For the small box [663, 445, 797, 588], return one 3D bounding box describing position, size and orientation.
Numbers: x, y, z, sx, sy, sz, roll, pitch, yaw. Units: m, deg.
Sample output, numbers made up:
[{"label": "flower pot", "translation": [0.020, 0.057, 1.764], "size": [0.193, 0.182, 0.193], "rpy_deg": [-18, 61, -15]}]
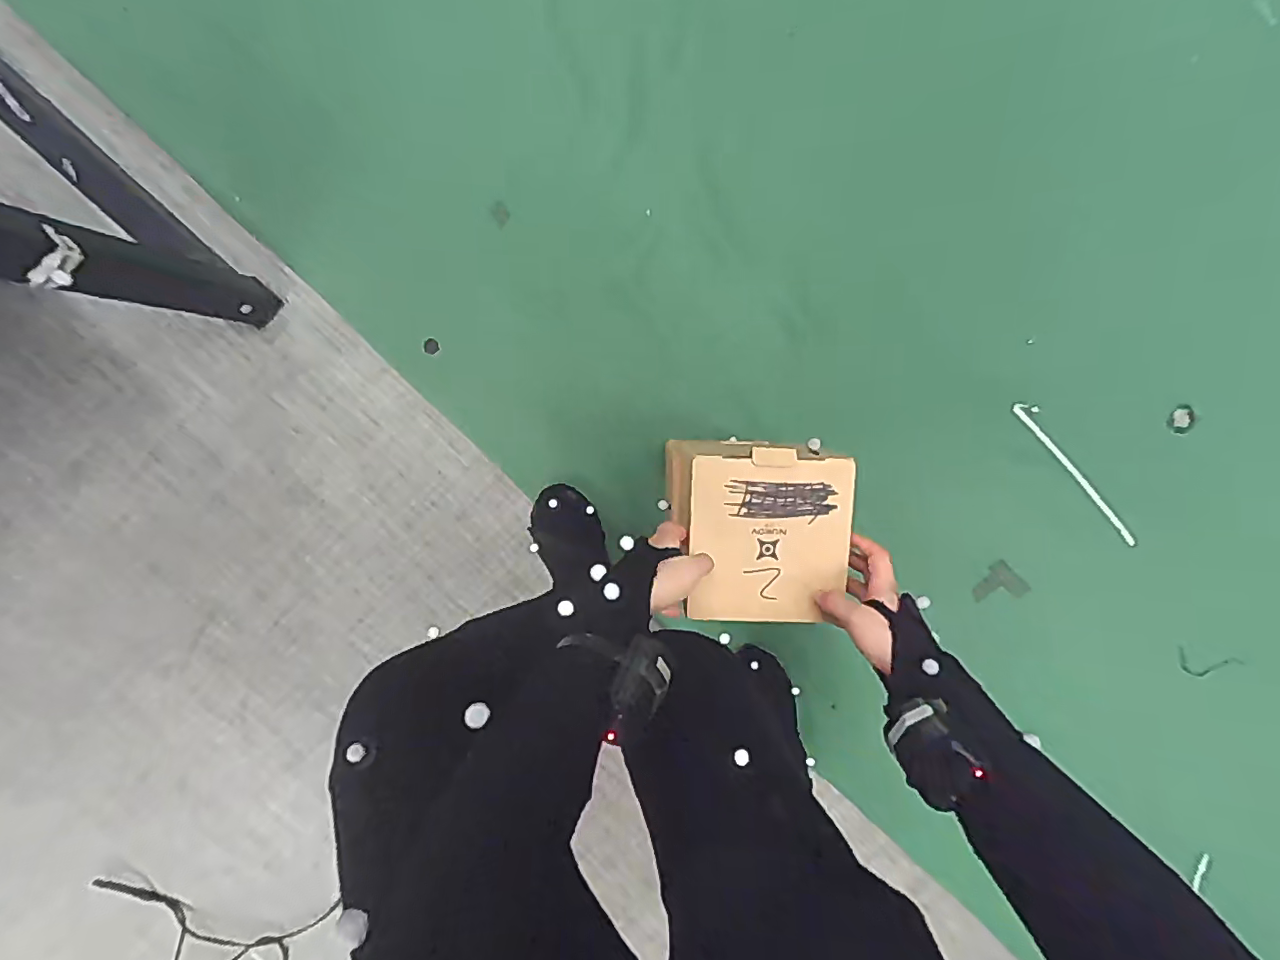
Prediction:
[{"label": "small box", "translation": [0.121, 0.045, 0.789], "size": [0.168, 0.176, 0.179], "rpy_deg": [1, 98, 0]}]
